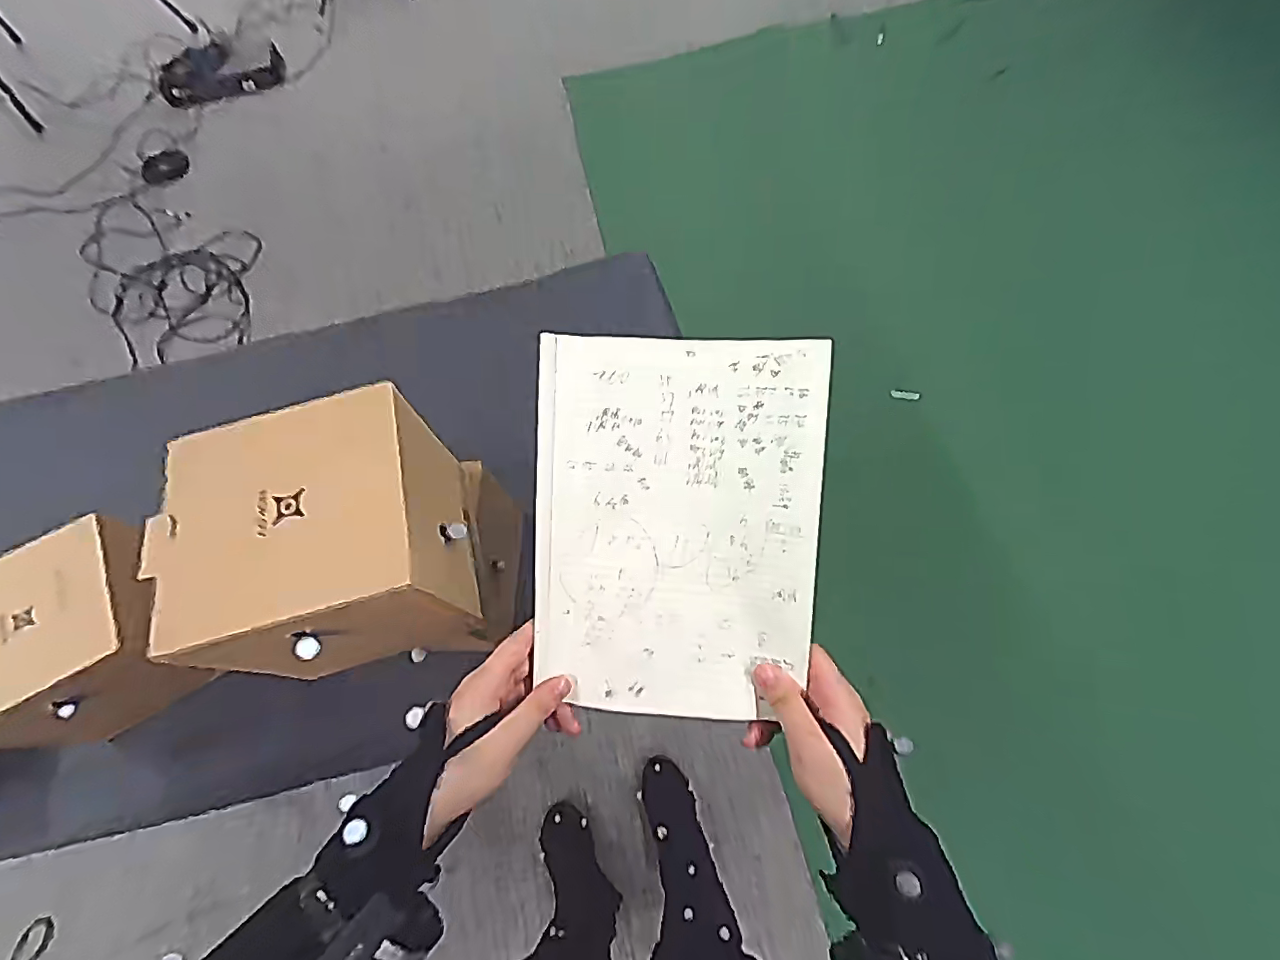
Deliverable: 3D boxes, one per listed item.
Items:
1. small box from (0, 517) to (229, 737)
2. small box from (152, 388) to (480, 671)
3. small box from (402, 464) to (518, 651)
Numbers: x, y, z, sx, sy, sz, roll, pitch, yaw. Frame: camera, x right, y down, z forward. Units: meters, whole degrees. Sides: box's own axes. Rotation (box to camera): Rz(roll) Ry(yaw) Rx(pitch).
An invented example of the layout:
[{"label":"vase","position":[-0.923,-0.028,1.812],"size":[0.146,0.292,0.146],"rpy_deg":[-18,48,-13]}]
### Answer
[{"label":"small box","position":[-0.609,0.174,0.612],"size":[0.179,0.176,0.168],"rpy_deg":[-30,69,-9]},{"label":"small box","position":[-0.248,0.053,0.457],"size":[0.179,0.176,0.168],"rpy_deg":[-17,67,-2]},{"label":"small box","position":[-0.245,0.094,0.616],"size":[0.168,0.176,0.179],"rpy_deg":[-1,68,4]}]
